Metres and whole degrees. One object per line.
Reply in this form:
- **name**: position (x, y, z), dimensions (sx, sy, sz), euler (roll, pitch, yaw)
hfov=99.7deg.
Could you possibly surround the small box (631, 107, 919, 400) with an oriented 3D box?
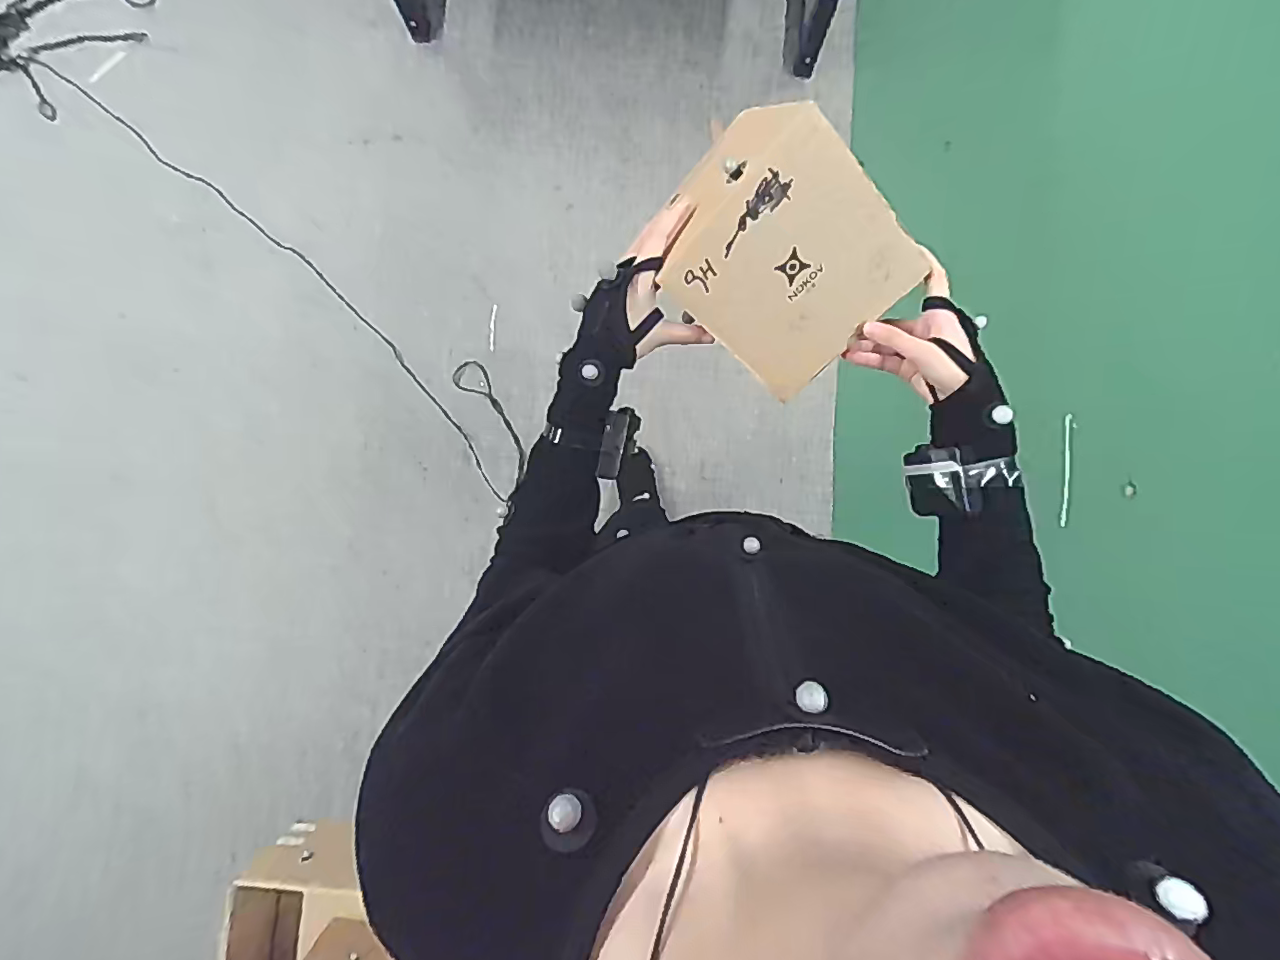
- **small box**: position (0.112, -0.215, 0.509), dimensions (0.179, 0.176, 0.168), euler (35, 112, -27)
